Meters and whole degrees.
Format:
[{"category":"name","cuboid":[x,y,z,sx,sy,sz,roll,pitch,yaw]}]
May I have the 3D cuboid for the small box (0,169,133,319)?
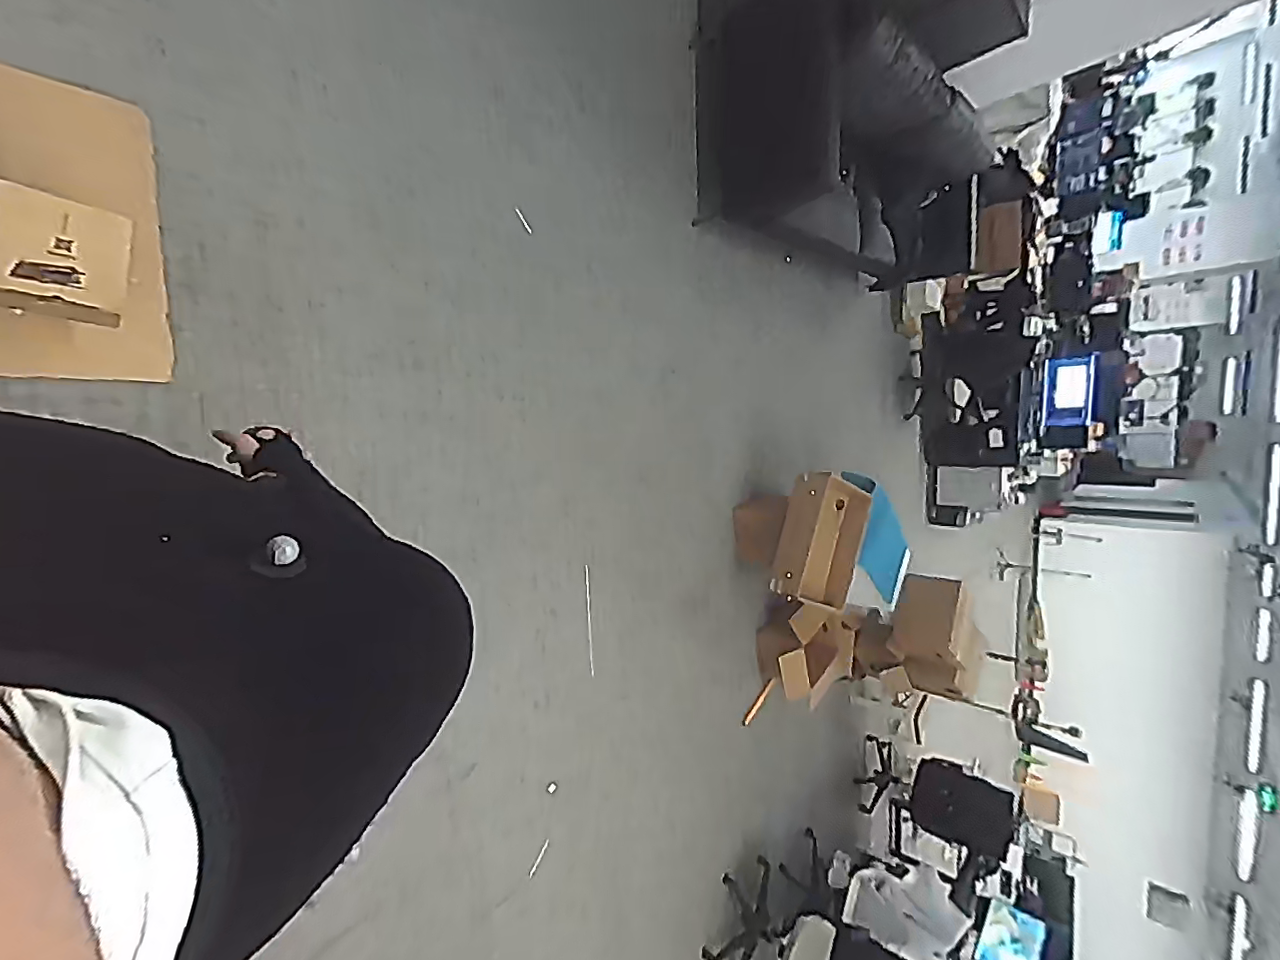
[{"category":"small box","cuboid":[-1.020,-0.399,0.953,0.168,0.176,0.179,6,87,-47]}]
